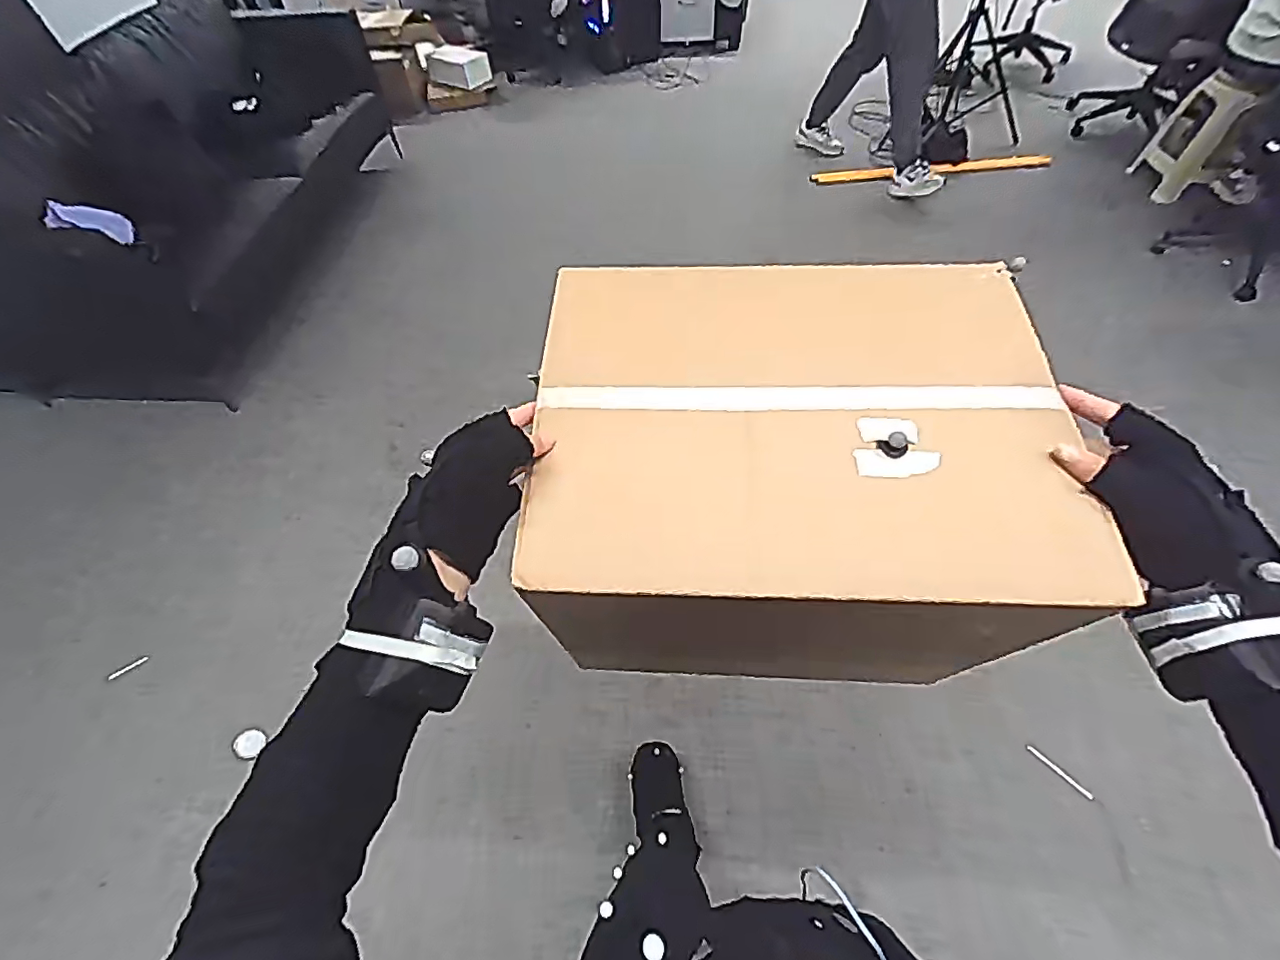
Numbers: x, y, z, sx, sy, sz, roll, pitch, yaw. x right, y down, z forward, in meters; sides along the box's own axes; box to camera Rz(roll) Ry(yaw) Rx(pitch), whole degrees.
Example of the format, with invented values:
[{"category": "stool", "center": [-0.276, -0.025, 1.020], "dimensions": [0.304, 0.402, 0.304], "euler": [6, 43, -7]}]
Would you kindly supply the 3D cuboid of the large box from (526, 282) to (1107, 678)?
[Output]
[{"category": "large box", "center": [0.125, 0.022, 0.571], "dimensions": [0.408, 0.320, 0.320], "euler": [0, 61, 4]}]
